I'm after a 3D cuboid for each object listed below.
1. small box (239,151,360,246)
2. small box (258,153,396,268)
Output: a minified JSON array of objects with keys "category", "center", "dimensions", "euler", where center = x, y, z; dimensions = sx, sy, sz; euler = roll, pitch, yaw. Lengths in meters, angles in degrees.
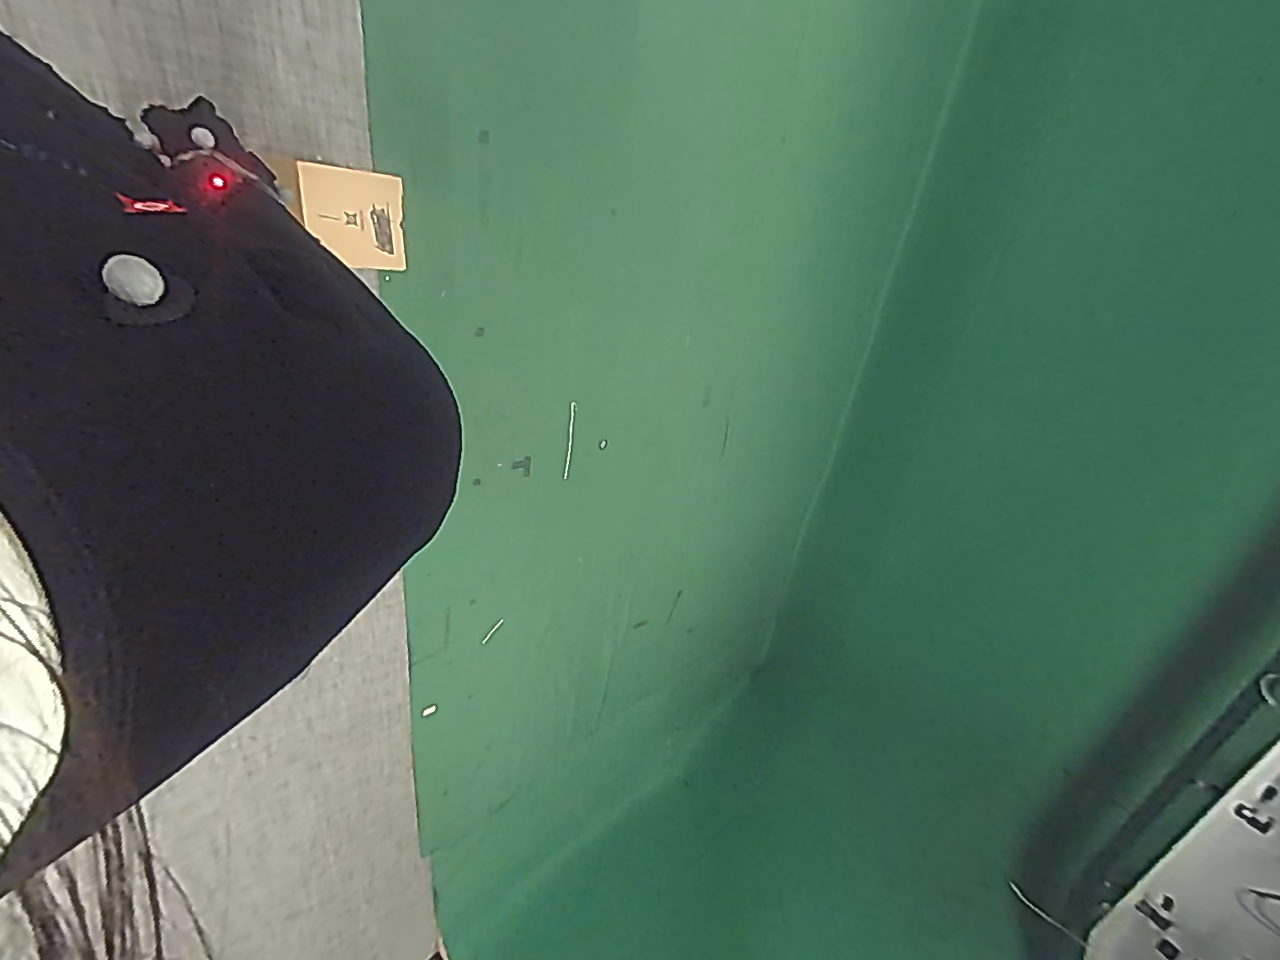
[{"category":"small box","center":[-0.689,-0.572,1.115],"dimensions":[0.179,0.176,0.168],"euler":[-19,126,-42]},{"category":"small box","center":[-0.581,-0.502,1.012],"dimensions":[0.179,0.176,0.168],"euler":[-16,124,-43]}]
